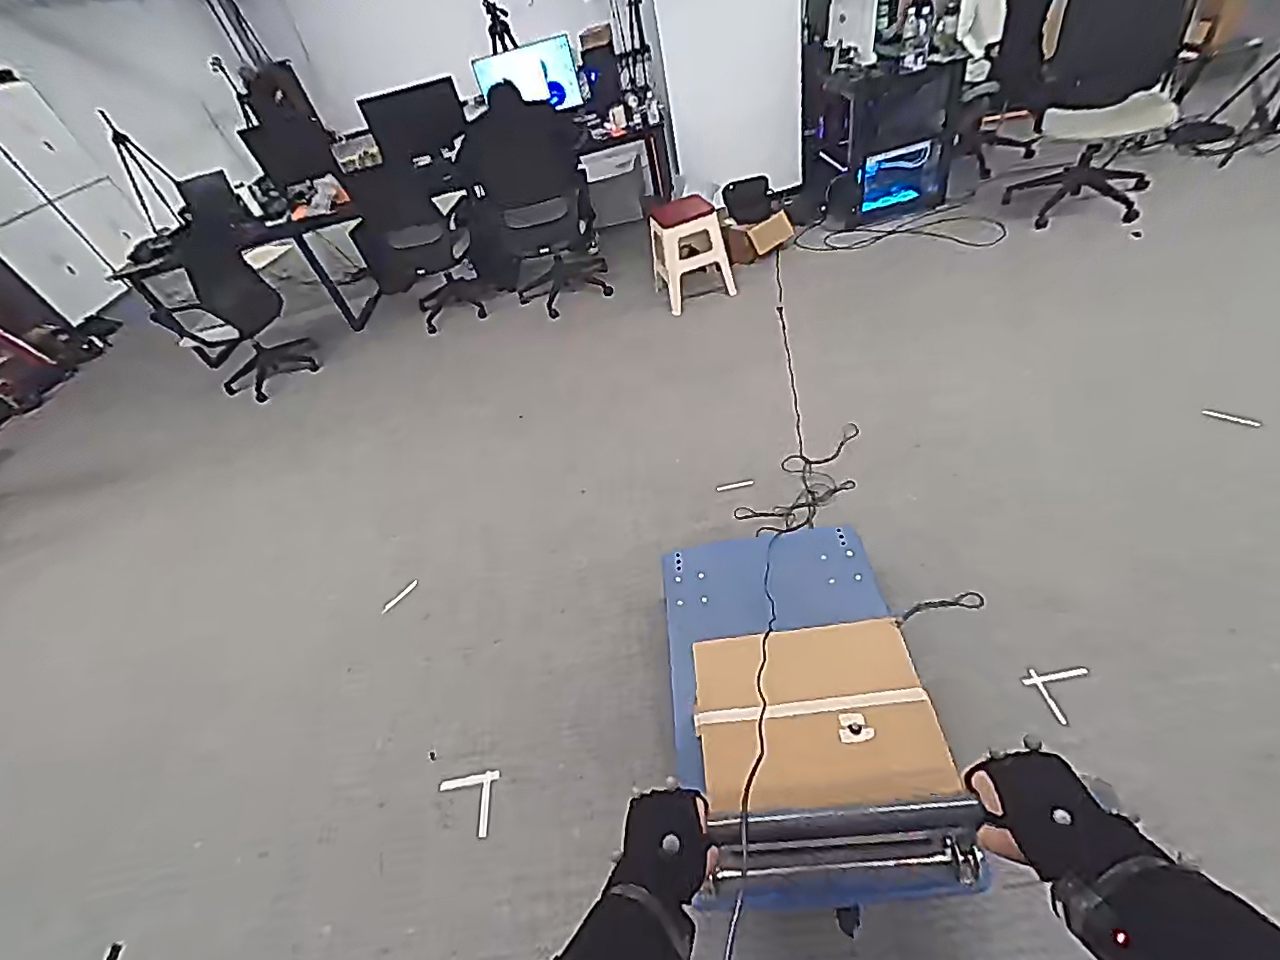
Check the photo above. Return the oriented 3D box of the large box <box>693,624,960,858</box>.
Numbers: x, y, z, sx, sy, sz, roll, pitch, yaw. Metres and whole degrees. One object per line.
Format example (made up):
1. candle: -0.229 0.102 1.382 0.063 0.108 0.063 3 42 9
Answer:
1. large box: 0.334 0.524 1.076 0.408 0.320 0.320 -9 45 7
